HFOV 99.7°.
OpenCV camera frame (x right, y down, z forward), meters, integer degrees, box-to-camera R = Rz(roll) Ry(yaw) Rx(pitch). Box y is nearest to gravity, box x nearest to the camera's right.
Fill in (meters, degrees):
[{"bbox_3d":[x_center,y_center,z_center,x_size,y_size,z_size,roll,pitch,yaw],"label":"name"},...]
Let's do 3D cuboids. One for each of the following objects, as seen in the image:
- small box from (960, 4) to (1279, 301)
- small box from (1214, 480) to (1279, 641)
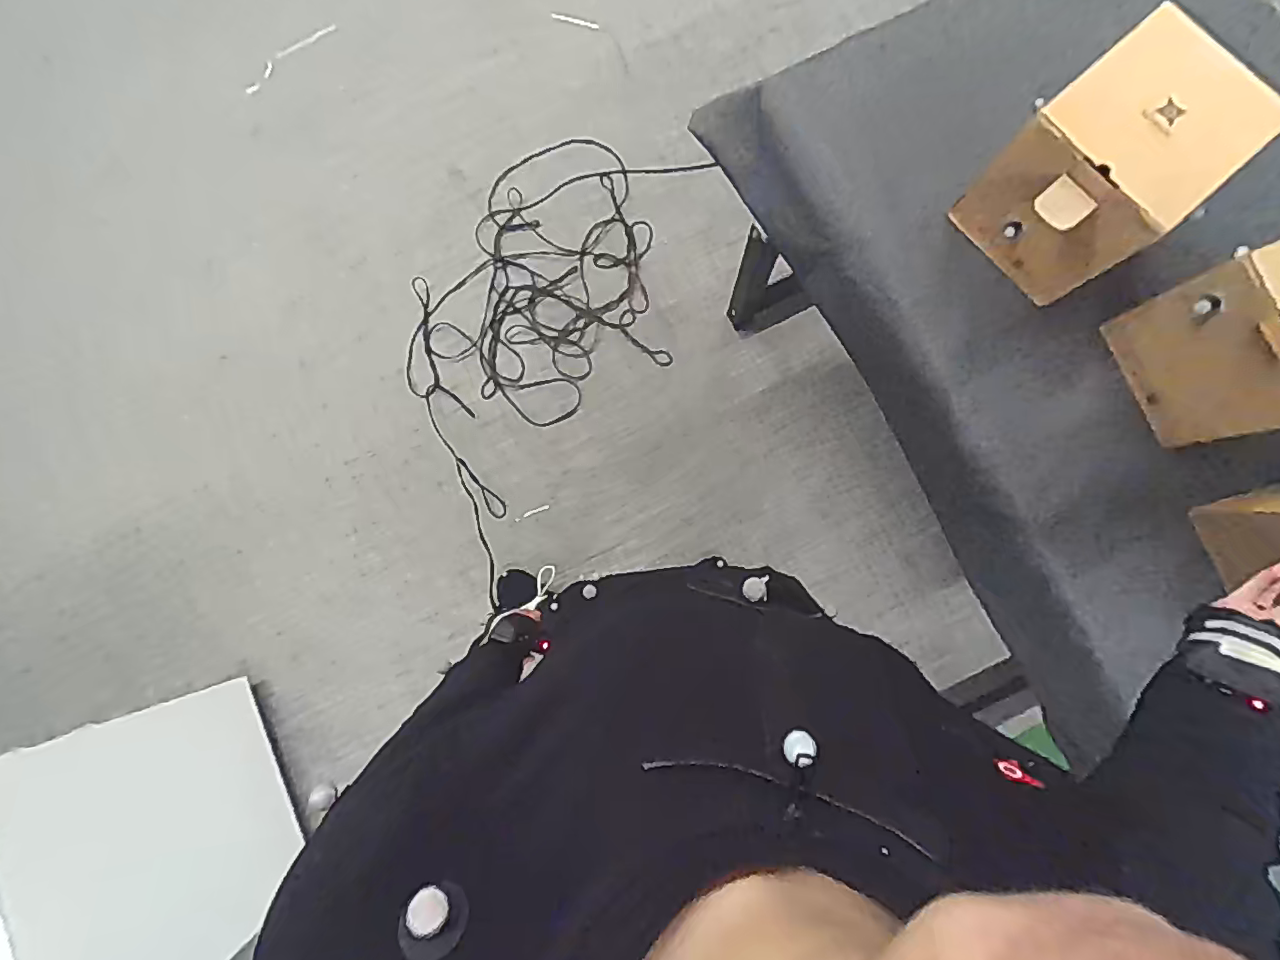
[{"bbox_3d":[0.503,-0.336,0.589,0.179,0.176,0.168,-41,84,-2],"label":"small box"},{"bbox_3d":[0.722,0.073,0.515,0.179,0.176,0.168,-22,83,15],"label":"small box"}]
